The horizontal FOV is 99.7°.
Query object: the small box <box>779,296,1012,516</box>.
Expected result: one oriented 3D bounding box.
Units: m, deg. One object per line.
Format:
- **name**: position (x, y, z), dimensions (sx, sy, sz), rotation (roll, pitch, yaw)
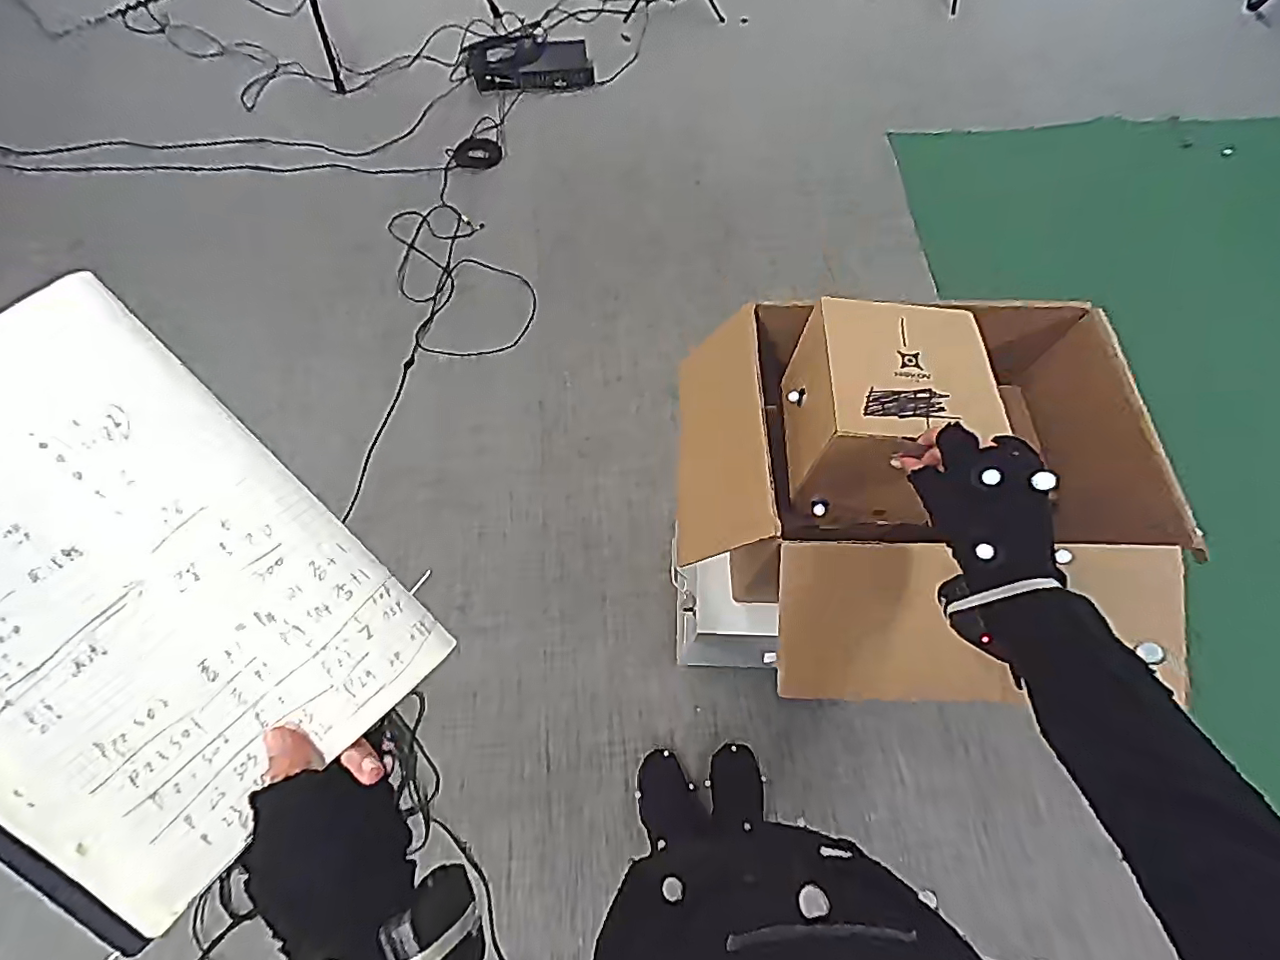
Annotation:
- **small box**: position (0.259, -0.074, 0.599), dimensions (0.168, 0.176, 0.179), rotation (5, 60, -1)
